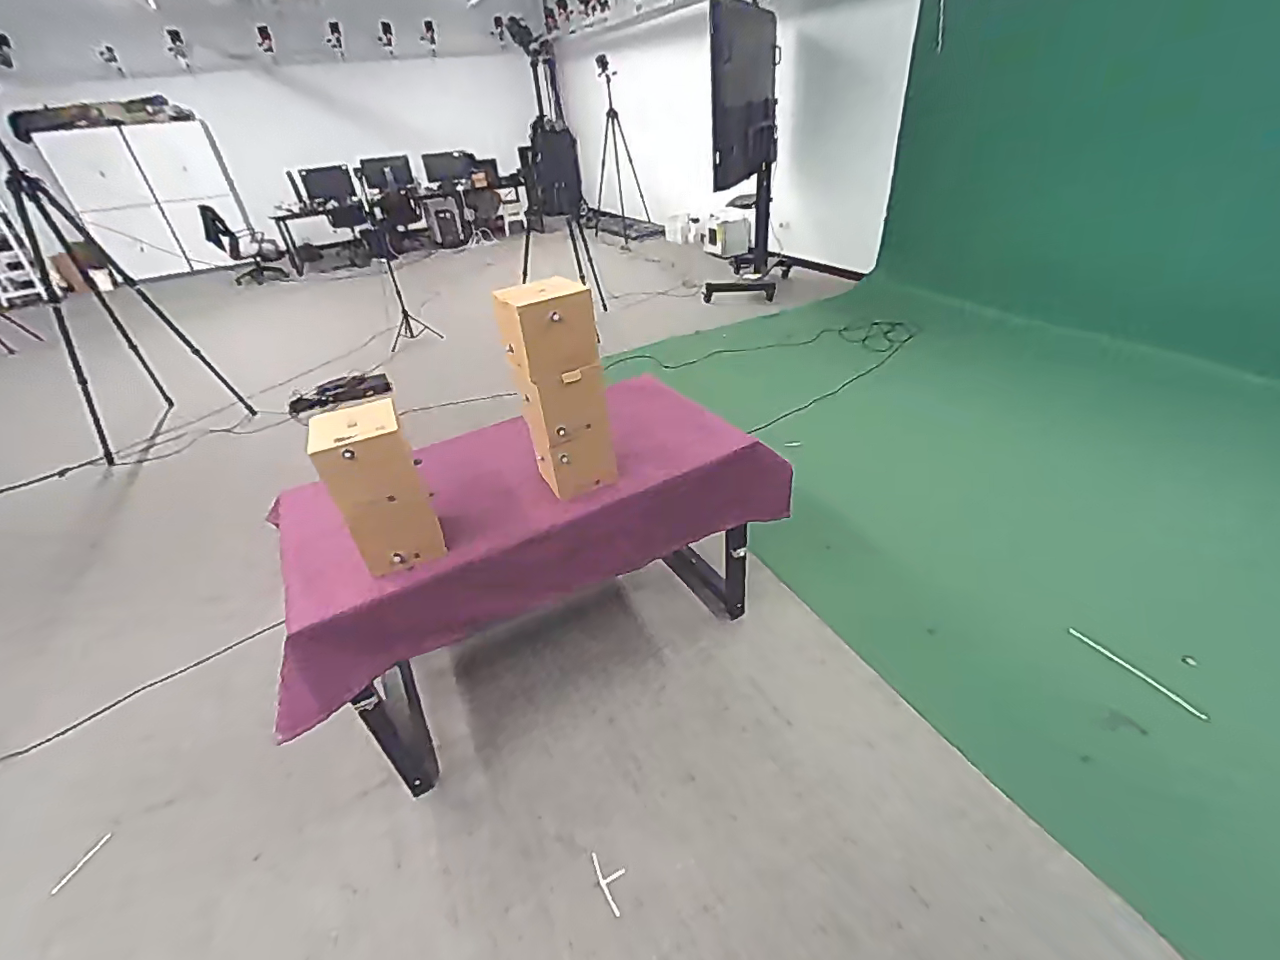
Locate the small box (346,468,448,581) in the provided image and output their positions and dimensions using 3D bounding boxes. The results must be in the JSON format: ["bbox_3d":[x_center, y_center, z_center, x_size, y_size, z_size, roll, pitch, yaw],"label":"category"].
[{"bbox_3d":[-0.554,0.099,1.238,0.168,0.176,0.179,-20,37,-17],"label":"small box"}]

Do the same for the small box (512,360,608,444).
[{"bbox_3d":[-0.194,-0.205,1.324,0.168,0.176,0.179,-23,36,-22],"label":"small box"}]

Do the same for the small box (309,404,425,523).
[{"bbox_3d":[-0.571,-0.036,1.144,0.168,0.176,0.179,-21,36,-17],"label":"small box"}]

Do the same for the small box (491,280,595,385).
[{"bbox_3d":[-0.215,-0.338,1.233,0.179,0.176,0.168,-25,38,-23],"label":"small box"}]
